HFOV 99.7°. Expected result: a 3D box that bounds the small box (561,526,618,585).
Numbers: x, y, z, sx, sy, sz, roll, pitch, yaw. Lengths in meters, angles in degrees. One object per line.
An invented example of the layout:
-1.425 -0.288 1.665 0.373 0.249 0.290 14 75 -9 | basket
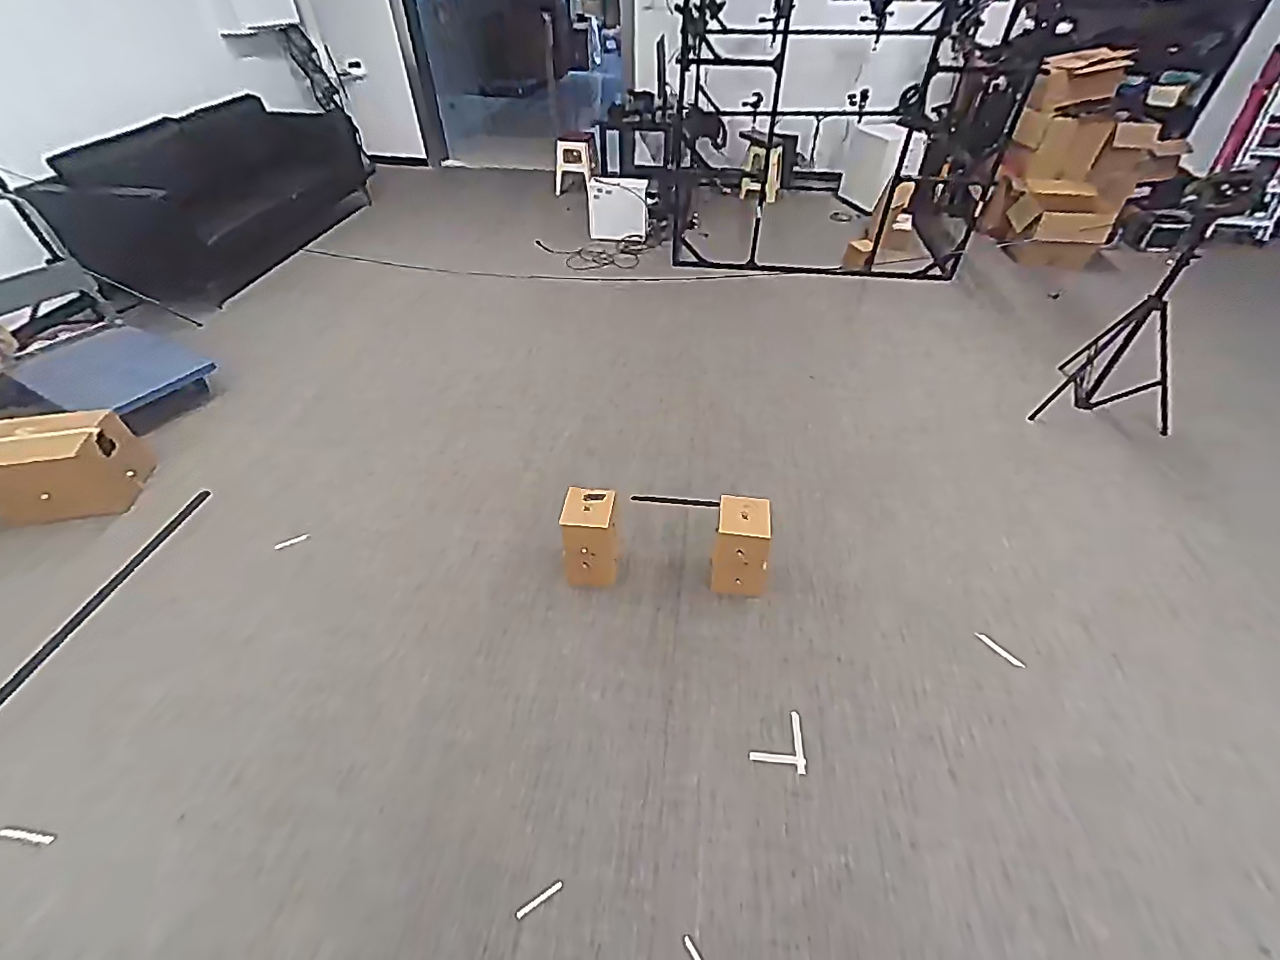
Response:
-0.179 0.268 1.985 0.179 0.176 0.168 4 44 5 | small box

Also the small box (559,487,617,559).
-0.174 0.149 1.872 0.168 0.176 0.179 4 45 5 | small box

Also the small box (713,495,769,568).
0.343 0.178 1.842 0.168 0.176 0.179 7 44 6 | small box
